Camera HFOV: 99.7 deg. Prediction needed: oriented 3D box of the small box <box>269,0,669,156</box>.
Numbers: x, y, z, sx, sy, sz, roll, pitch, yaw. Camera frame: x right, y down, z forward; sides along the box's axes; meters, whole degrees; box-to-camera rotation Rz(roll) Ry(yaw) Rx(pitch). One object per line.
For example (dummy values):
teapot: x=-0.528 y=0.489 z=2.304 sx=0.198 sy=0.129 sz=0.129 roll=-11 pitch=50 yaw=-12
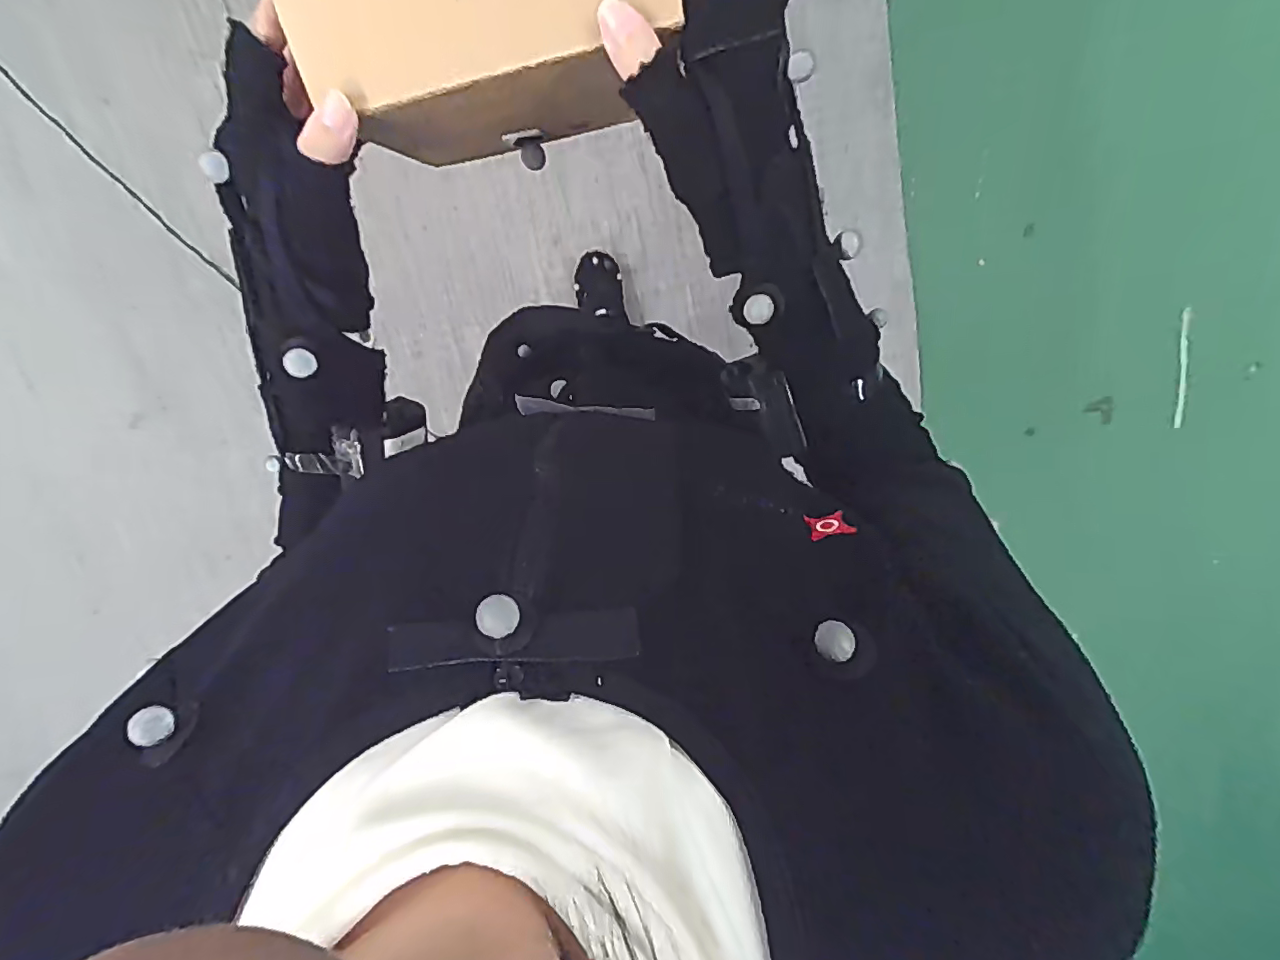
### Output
small box: x=-0.085 y=-0.291 z=0.274 sx=0.168 sy=0.176 sz=0.179 roll=-12 pitch=113 yaw=5
